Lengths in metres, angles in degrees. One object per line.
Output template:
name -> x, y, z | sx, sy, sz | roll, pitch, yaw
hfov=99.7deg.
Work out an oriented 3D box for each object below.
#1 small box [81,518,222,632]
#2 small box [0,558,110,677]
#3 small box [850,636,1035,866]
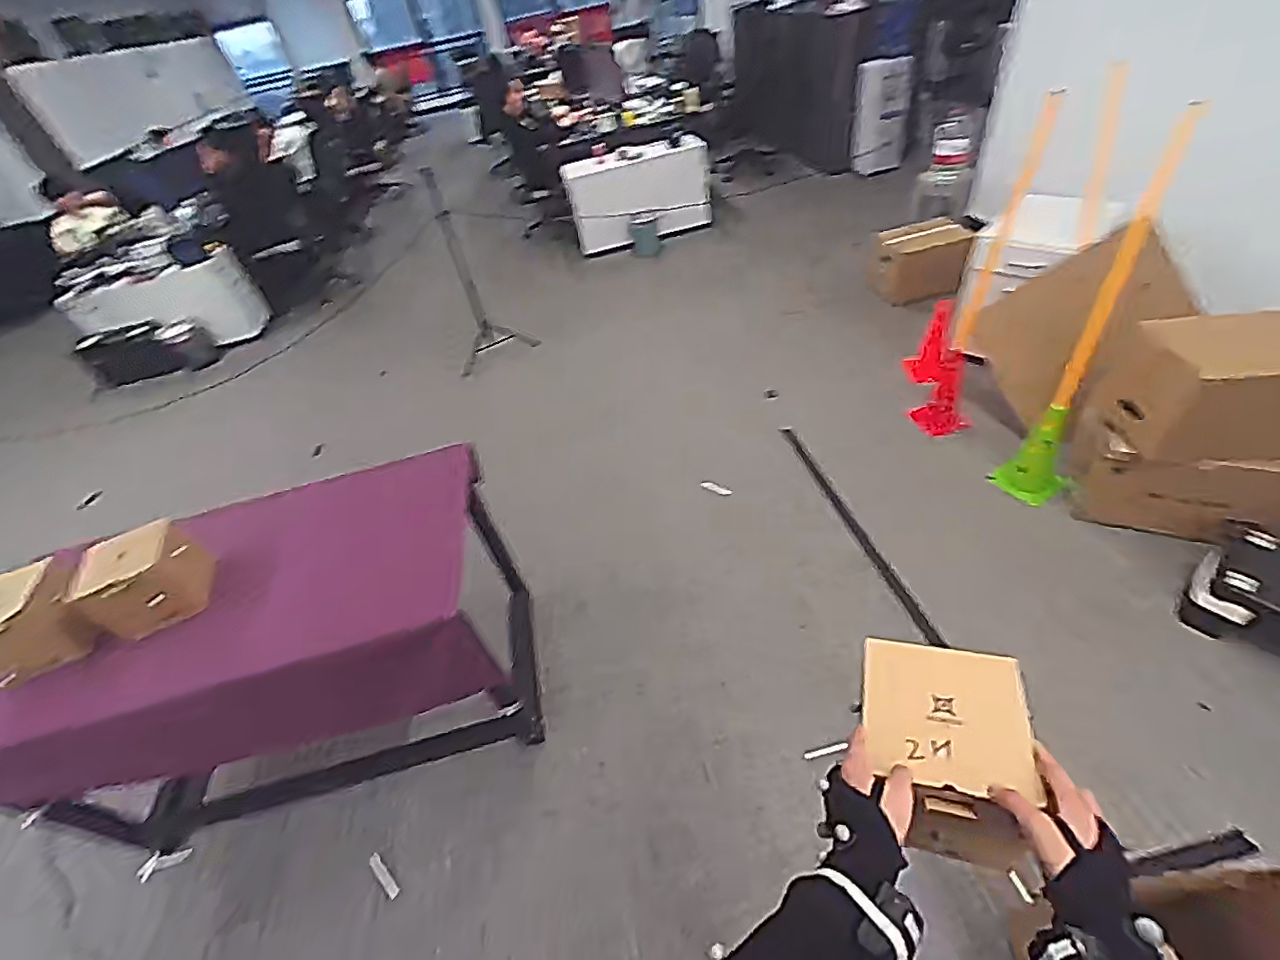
small box -> -1.117, 0.226, 1.256 | 0.168, 0.176, 0.179 | -24, 44, -12
small box -> -1.349, 0.315, 1.215 | 0.168, 0.176, 0.179 | -23, 43, -11
small box -> 0.347, 0.321, 0.654 | 0.168, 0.176, 0.179 | 2, 40, 22
